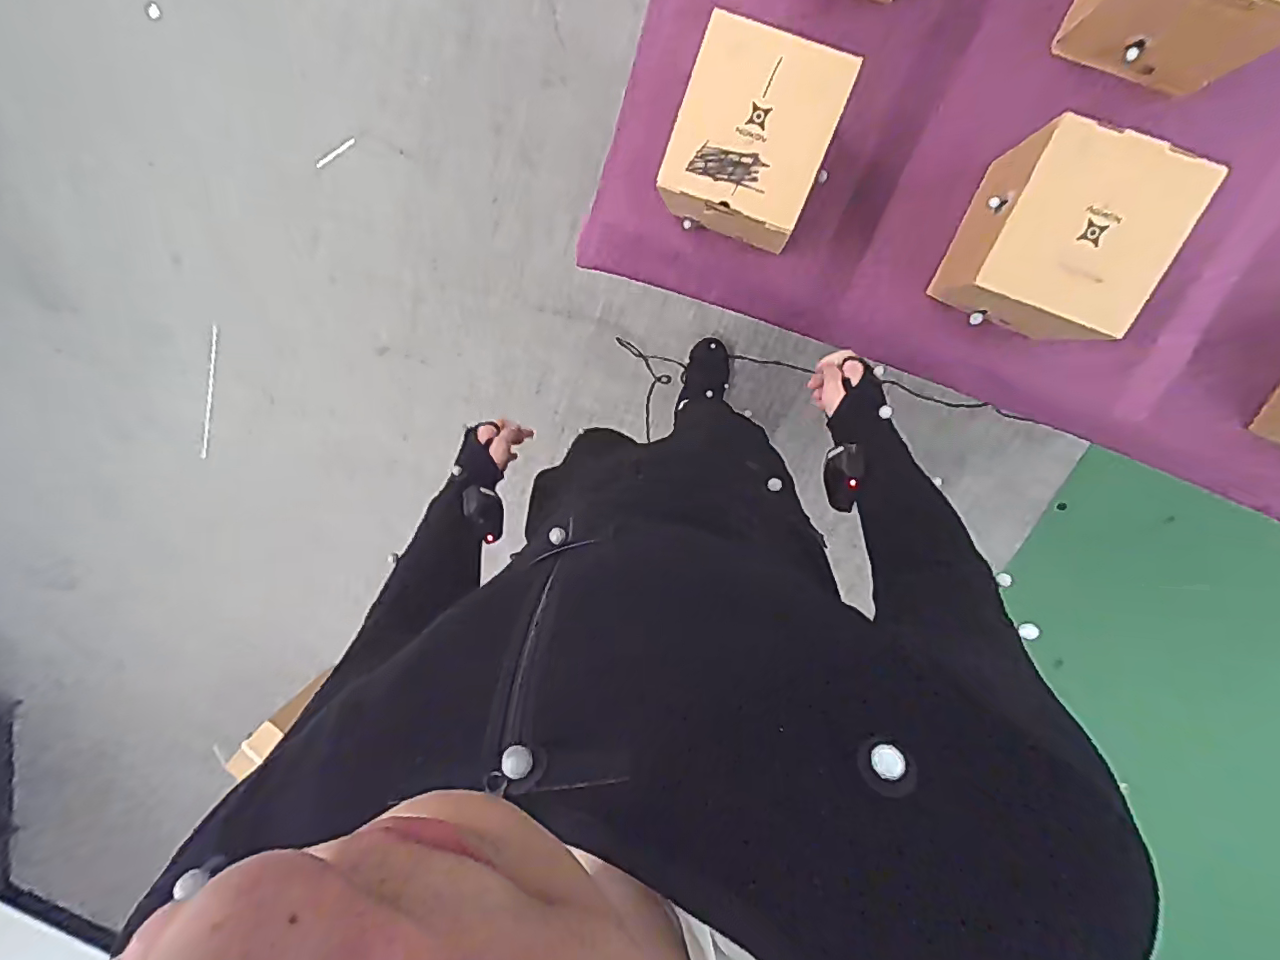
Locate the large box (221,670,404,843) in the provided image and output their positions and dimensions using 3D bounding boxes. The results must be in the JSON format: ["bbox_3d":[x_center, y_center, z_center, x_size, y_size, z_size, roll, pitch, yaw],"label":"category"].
[{"bbox_3d":[-1.161,0.979,1.949,0.408,0.320,0.320,45,108,-5],"label":"large box"}]

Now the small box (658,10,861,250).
[{"bbox_3d":[0.136,-0.400,0.655,0.168,0.176,0.179,22,107,2],"label":"small box"}]

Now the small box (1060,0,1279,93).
[{"bbox_3d":[0.584,-0.541,0.544,0.168,0.176,0.179,22,109,3],"label":"small box"}]

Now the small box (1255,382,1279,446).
[{"bbox_3d":[0.891,-0.093,0.611,0.168,0.176,0.179,24,105,4],"label":"small box"}]
